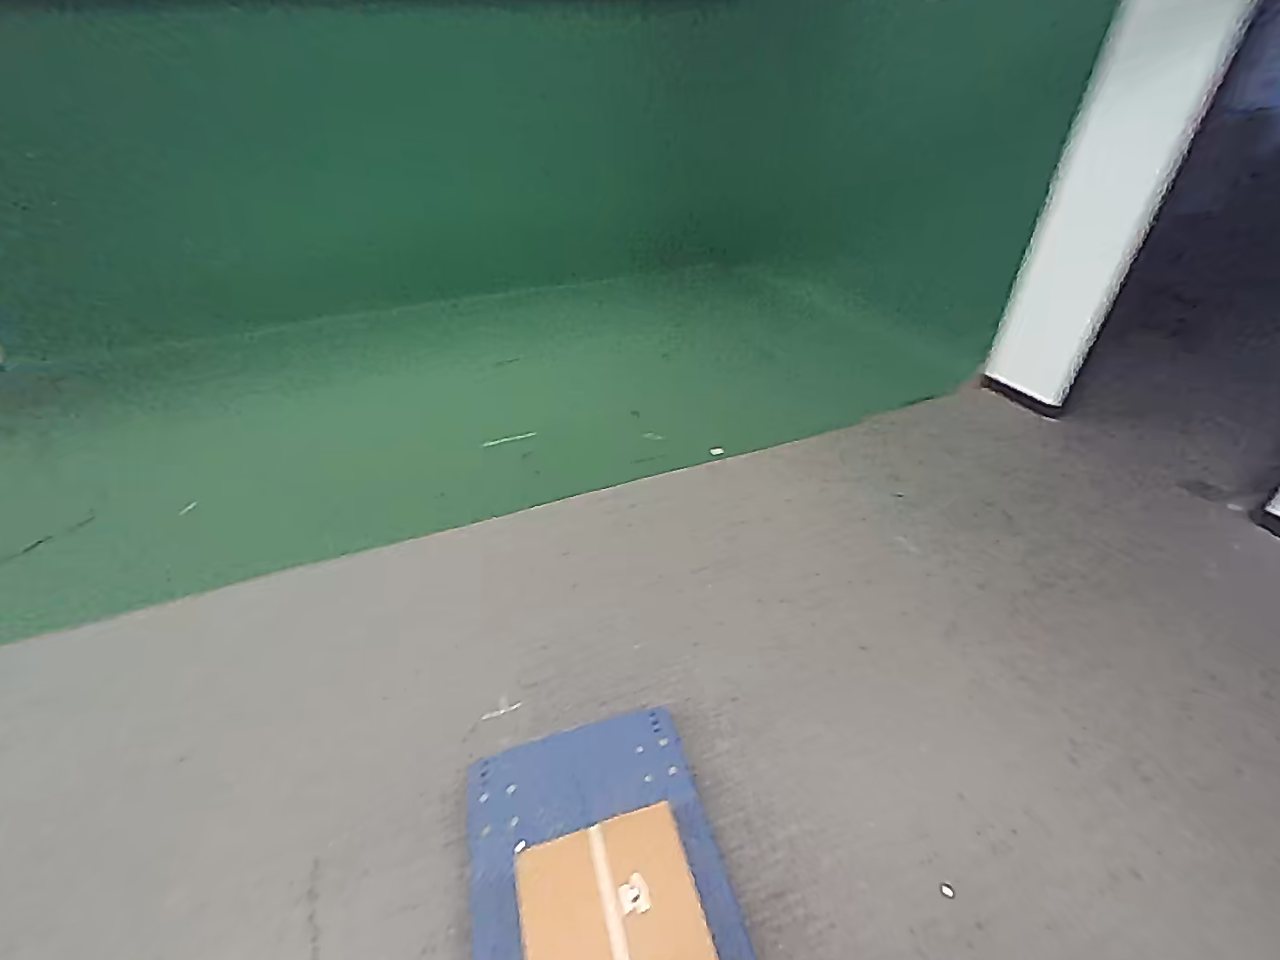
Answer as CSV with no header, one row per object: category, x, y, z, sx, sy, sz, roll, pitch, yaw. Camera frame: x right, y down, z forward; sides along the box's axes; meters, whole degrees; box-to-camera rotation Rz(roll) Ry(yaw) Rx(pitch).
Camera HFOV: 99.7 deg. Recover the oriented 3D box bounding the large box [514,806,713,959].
large box,-0.034,0.933,1.018,0.320,0.320,0.408,-12,37,-12
